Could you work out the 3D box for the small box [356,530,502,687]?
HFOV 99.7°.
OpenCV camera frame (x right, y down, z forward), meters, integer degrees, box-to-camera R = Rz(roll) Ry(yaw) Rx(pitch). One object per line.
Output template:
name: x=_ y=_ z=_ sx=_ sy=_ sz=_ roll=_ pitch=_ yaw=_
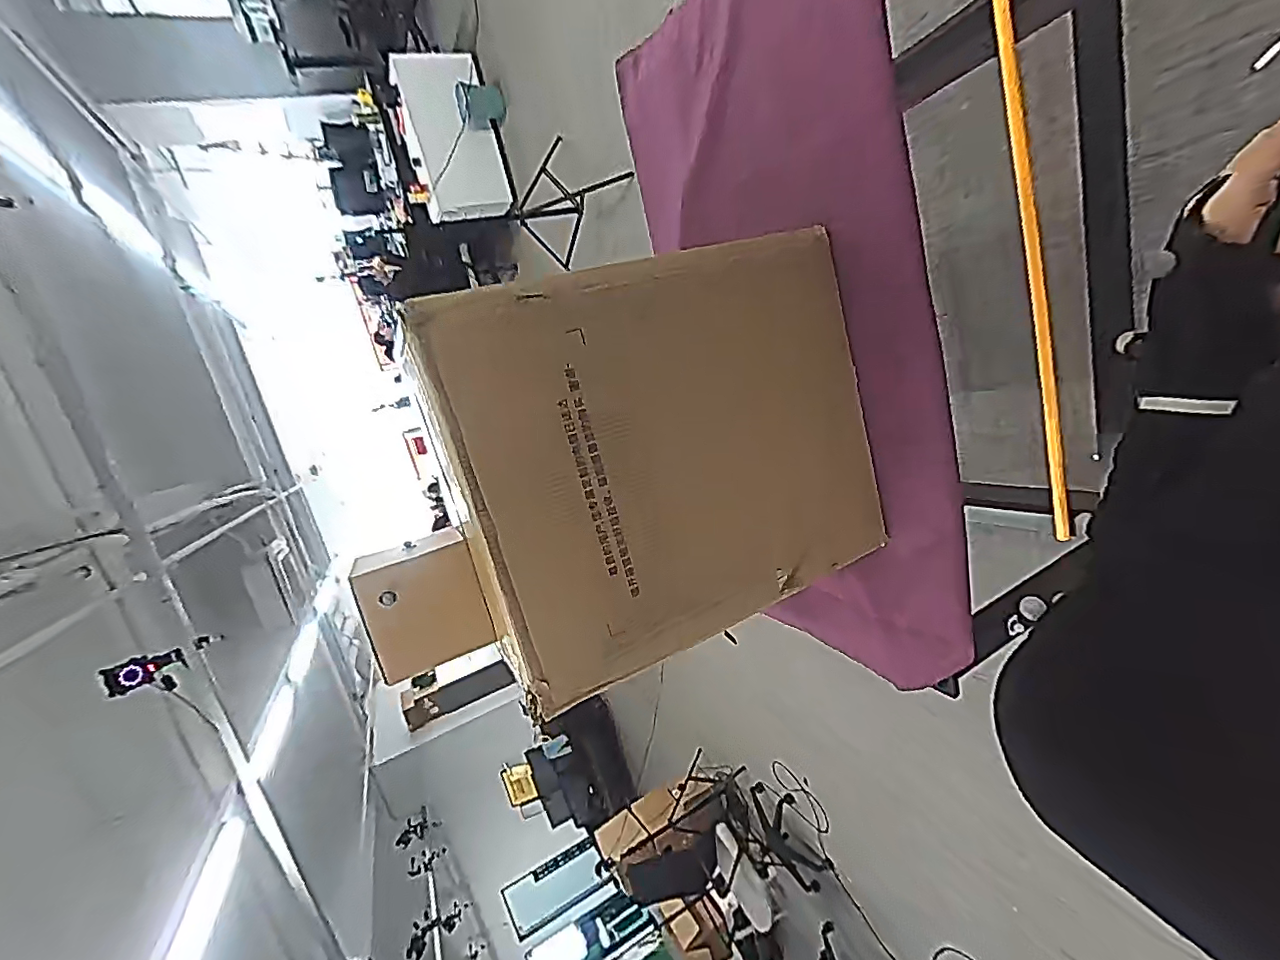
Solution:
small box: x=-0.339 y=0.193 z=0.877 sx=0.168 sy=0.176 sz=0.179 roll=7 pitch=114 yaw=66
